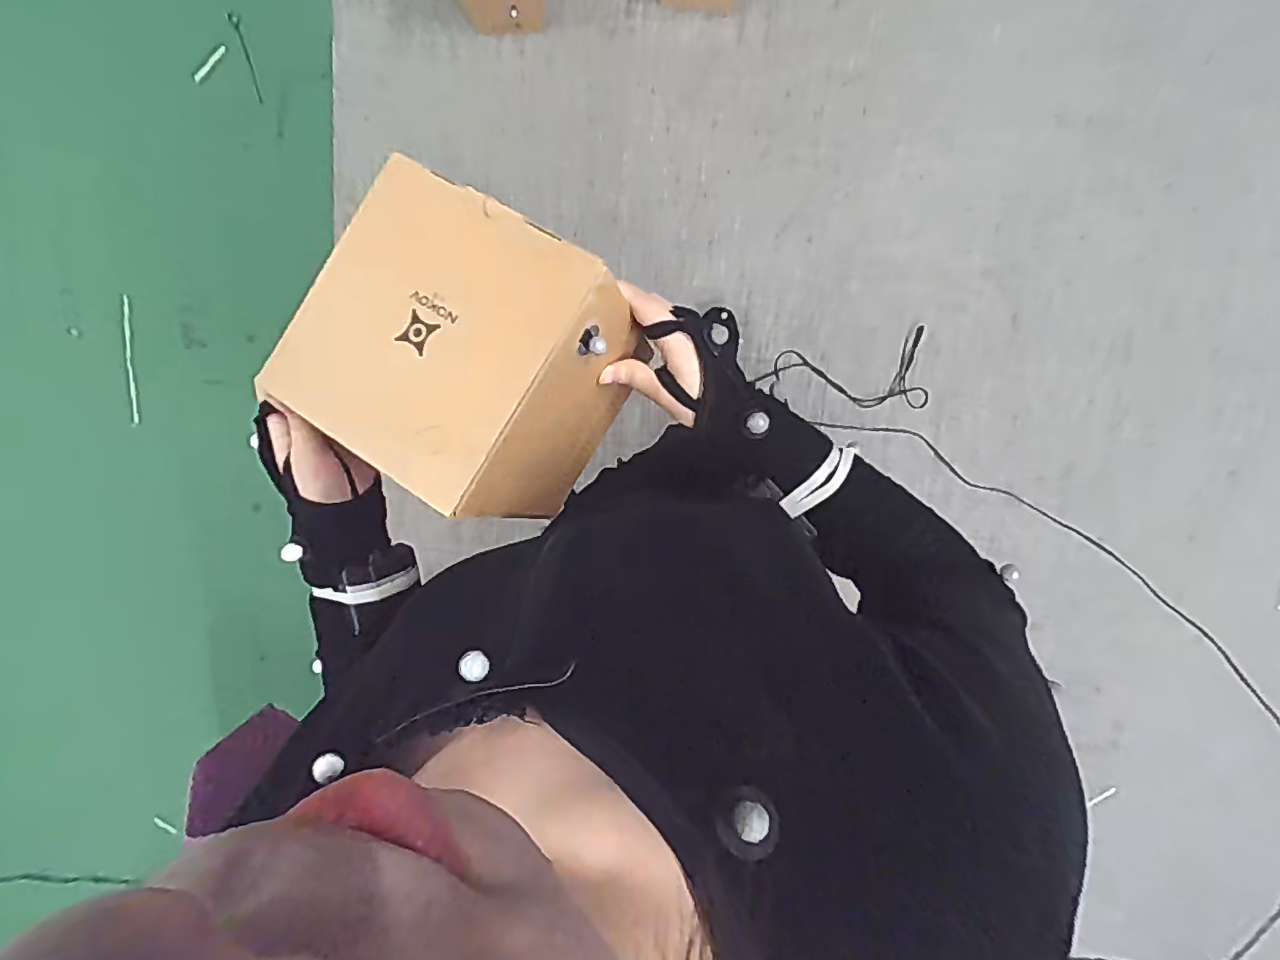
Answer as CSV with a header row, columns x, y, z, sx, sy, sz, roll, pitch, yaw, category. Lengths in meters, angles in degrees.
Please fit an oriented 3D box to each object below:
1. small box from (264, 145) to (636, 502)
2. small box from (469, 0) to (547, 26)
x,y,z,sx,sy,sz,roll,pitch,yaw,category
-0.121,-0.096,0.413,0.168,0.176,0.179,33,91,12,small box
-0.309,-1.177,1.227,0.168,0.176,0.179,5,101,5,small box
